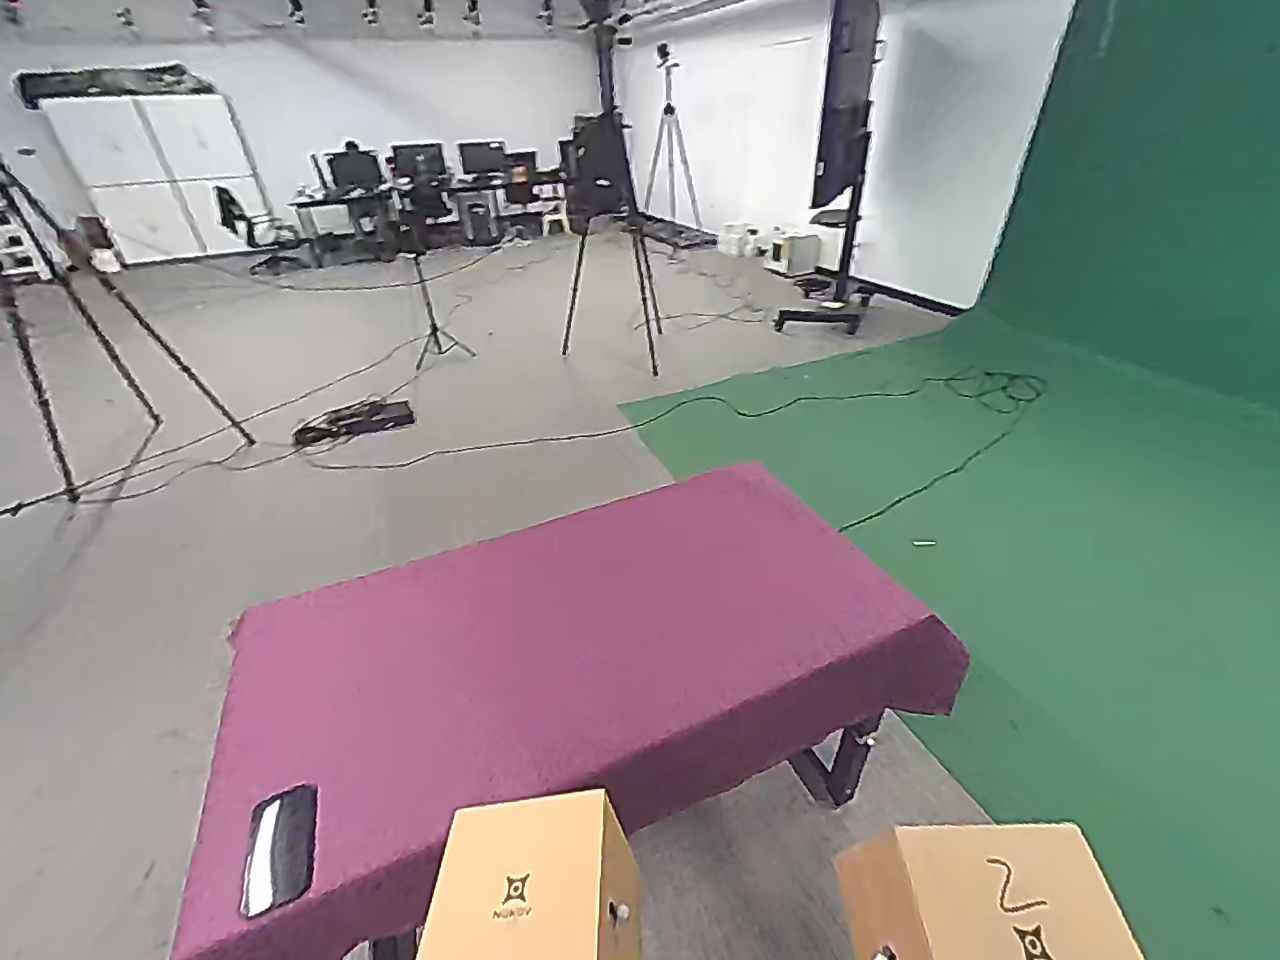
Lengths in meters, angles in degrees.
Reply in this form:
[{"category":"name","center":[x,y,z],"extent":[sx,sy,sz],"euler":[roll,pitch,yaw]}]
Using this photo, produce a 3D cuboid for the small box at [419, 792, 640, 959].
[{"category":"small box","center":[-0.097,0.453,0.540],"extent":[0.168,0.176,0.179],"euler":[-12,31,5]}]
